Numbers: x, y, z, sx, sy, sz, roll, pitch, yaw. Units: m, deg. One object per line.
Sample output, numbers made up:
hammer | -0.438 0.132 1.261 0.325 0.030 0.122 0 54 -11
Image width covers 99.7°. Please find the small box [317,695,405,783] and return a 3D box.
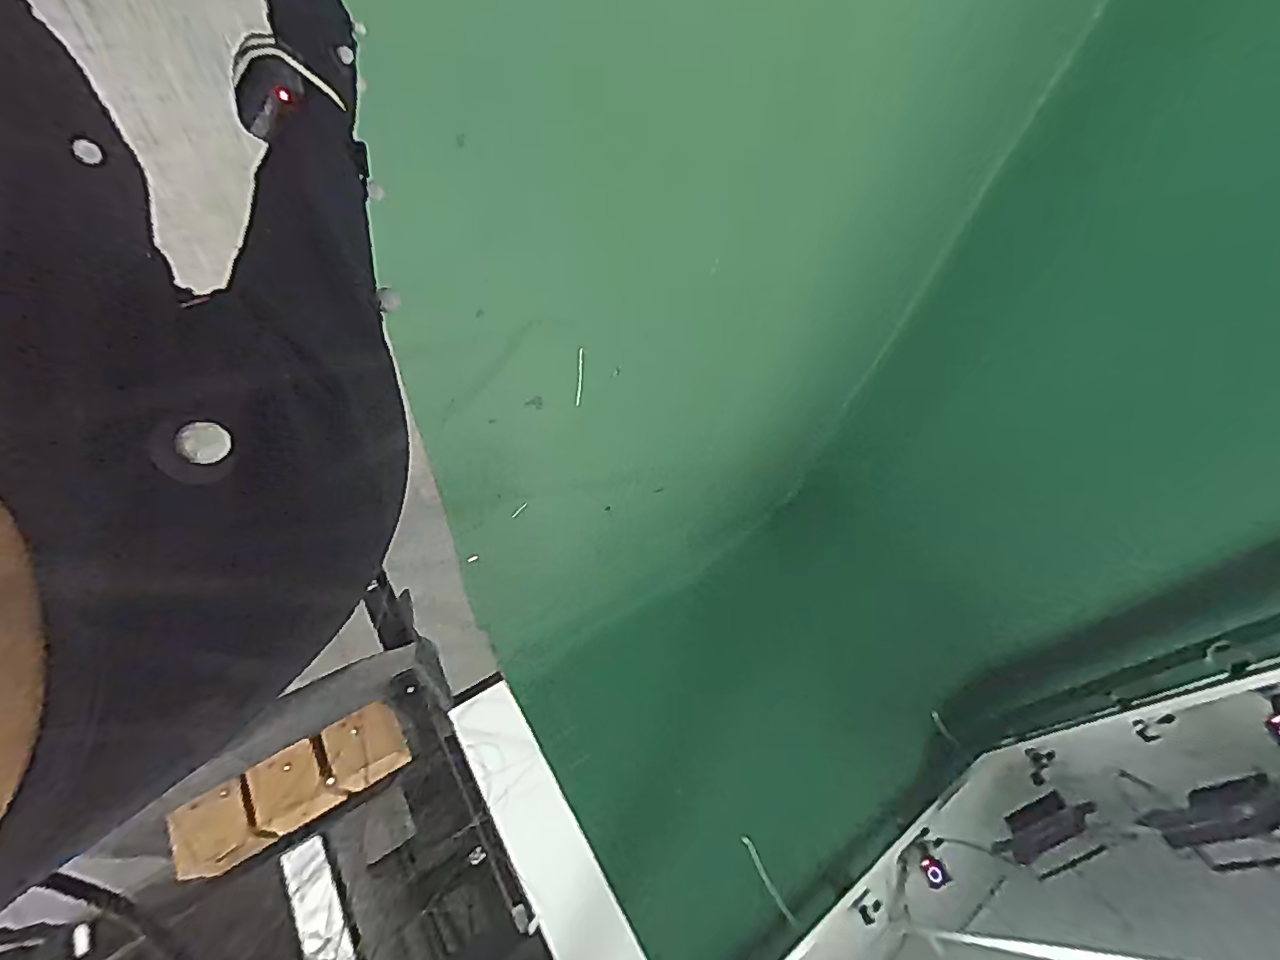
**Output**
small box | -0.828 0.768 1.611 0.168 0.176 0.179 -26 153 -22

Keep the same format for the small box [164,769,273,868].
small box | -1.142 0.914 1.468 0.168 0.176 0.179 -25 153 -22
